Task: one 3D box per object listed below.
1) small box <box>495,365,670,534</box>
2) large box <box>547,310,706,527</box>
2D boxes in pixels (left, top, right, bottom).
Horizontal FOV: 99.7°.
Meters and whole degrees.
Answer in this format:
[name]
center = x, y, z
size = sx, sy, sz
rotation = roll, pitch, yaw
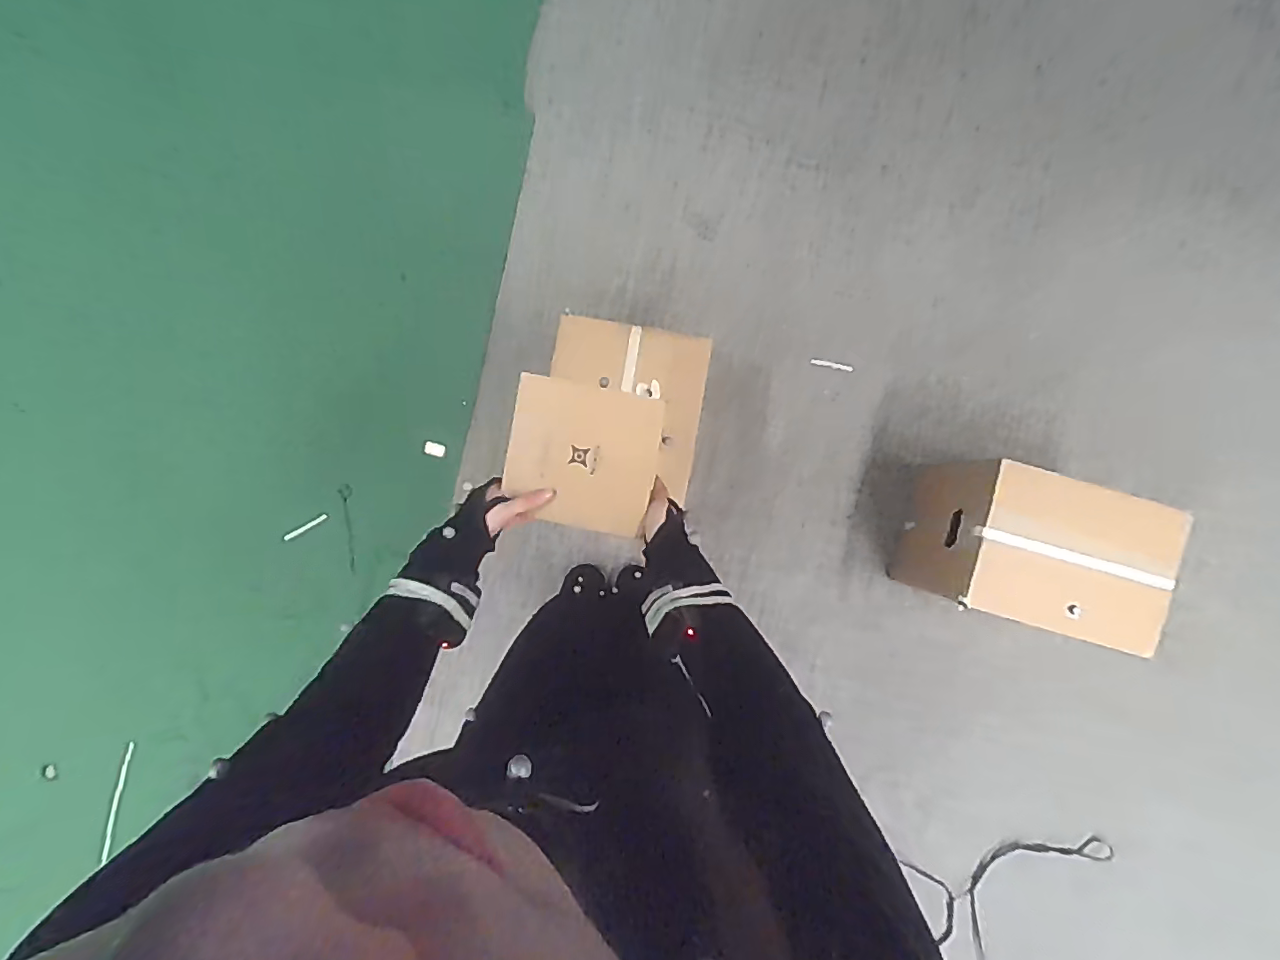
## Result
[small box]
center = -0.066, -0.042, 0.696
size = 0.179, 0.176, 0.168
rotation = 12, 96, 0
[large box]
center = -0.048, -0.118, 1.233
size = 0.320, 0.320, 0.408
rotation = 11, 88, -1
